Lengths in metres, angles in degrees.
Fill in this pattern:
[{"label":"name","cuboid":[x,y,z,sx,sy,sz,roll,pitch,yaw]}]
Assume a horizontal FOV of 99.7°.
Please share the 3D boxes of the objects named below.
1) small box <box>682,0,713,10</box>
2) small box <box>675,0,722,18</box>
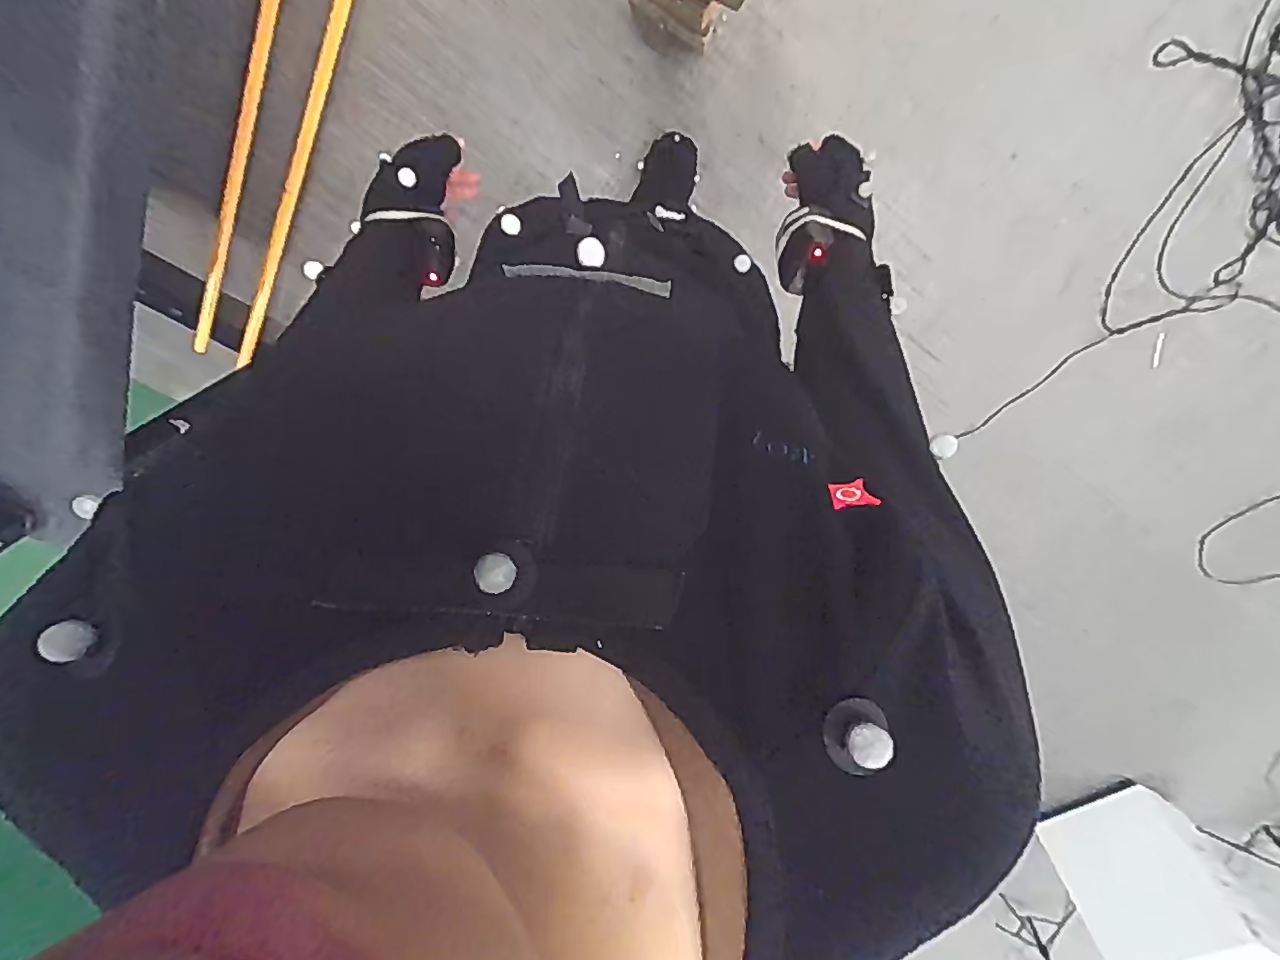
[{"label":"small box","cuboid":[0.060,-0.734,0.671,0.179,0.176,0.168,30,122,-16]},{"label":"small box","cuboid":[0.082,-0.831,0.800,0.179,0.176,0.168,28,121,-13]}]
